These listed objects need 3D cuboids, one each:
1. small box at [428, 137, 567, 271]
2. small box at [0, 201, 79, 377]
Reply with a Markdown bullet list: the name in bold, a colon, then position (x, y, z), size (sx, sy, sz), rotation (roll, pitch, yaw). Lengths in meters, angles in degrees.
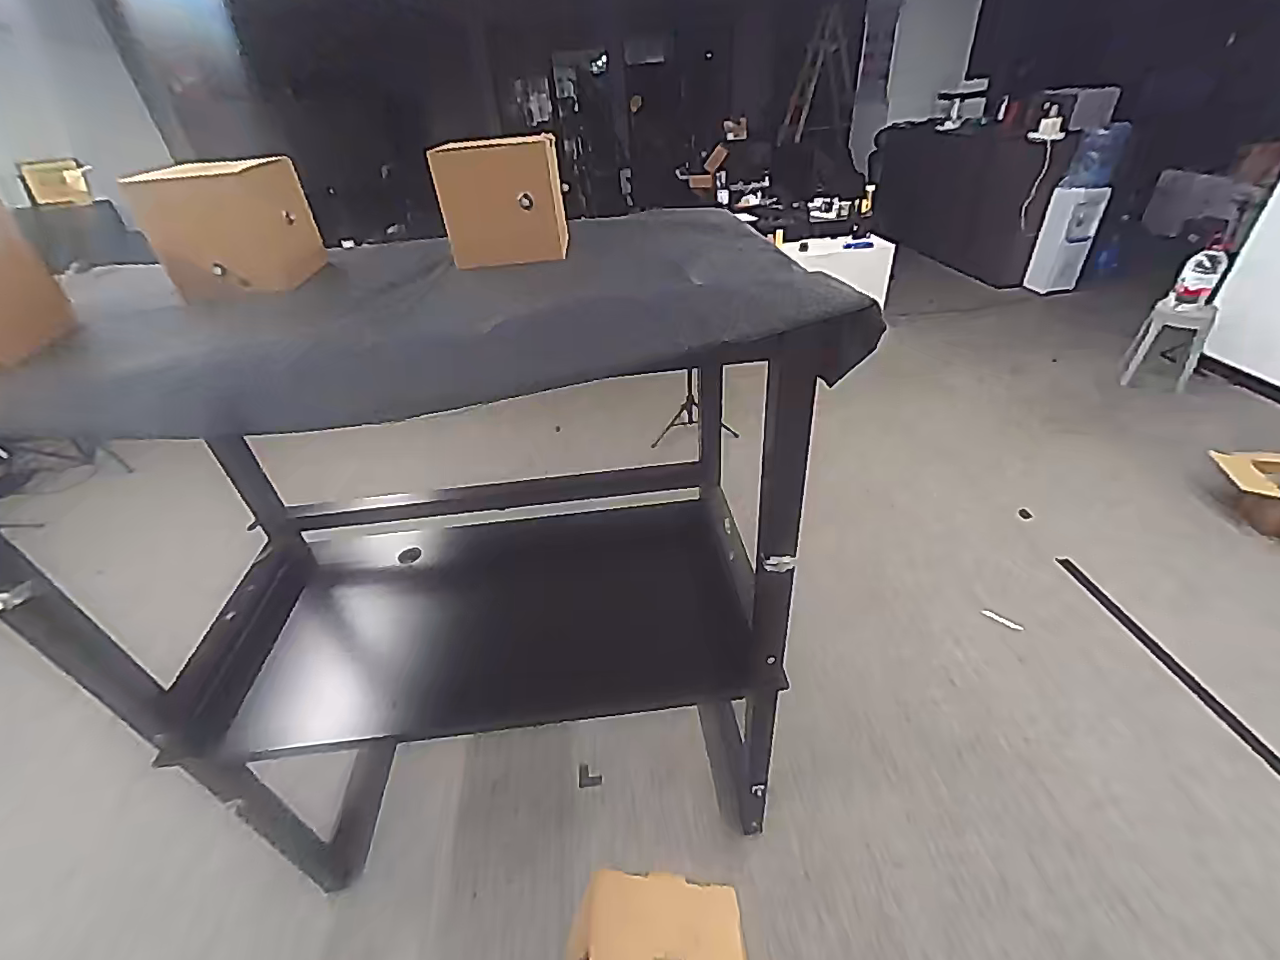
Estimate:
- **small box**: position (-0.218, -0.453, 0.887), size (0.179, 0.176, 0.168), rotation (-5, 35, 0)
- **small box**: position (-0.849, -0.224, 0.648), size (0.168, 0.176, 0.179), rotation (-11, 37, -10)
